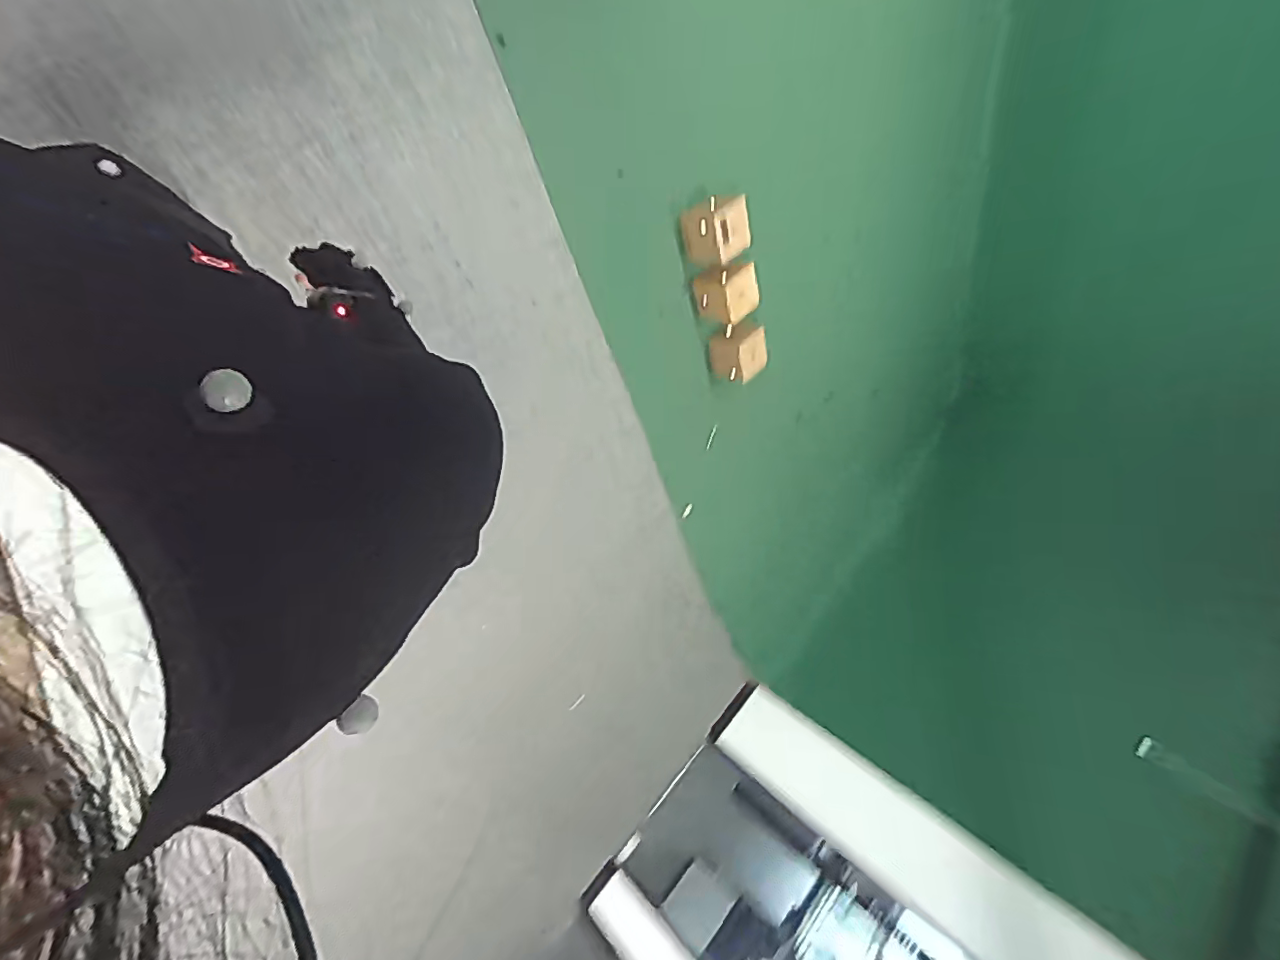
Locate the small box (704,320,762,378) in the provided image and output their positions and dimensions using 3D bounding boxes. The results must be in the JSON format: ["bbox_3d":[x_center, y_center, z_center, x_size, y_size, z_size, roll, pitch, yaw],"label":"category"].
[{"bbox_3d":[0.396,-0.568,2.311,0.168,0.176,0.179,-43,136,-22],"label":"small box"}]

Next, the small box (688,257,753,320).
[{"bbox_3d":[0.318,-0.759,2.130,0.179,0.176,0.168,-44,136,-20],"label":"small box"}]
